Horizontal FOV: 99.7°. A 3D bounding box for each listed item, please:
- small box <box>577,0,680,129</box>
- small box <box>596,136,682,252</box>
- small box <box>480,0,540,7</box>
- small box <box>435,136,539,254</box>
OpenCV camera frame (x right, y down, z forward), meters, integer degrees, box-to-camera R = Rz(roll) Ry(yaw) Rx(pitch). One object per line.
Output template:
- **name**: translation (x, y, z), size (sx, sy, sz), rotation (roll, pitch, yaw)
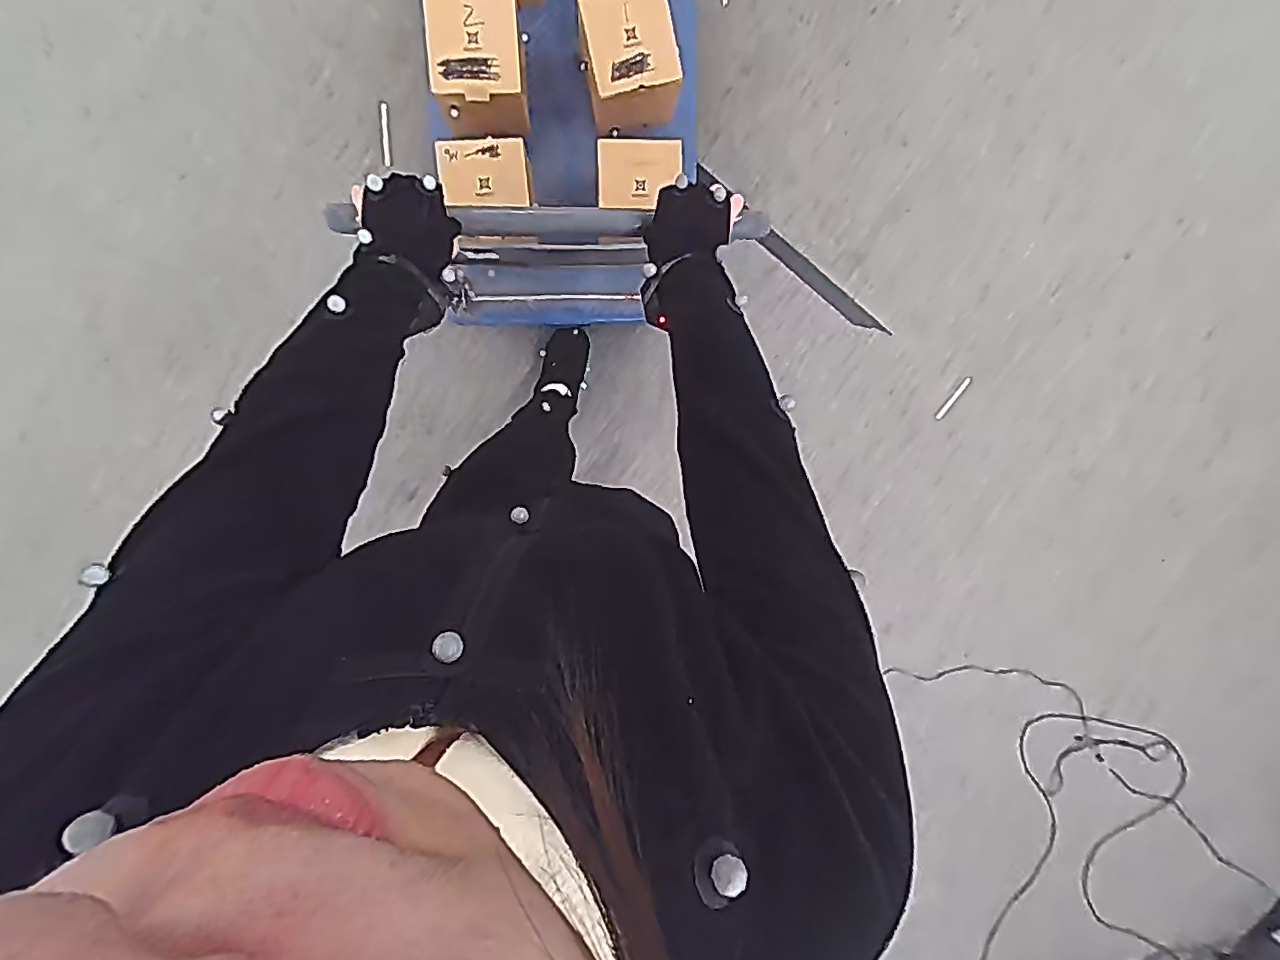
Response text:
- **small box**: translation (-0.025, -0.841, 1.090), size (0.168, 0.176, 0.179), rotation (-14, 99, -3)
- **small box**: translation (-0.006, -0.587, 1.132), size (0.168, 0.176, 0.179), rotation (-2, 98, -6)
- **small box**: translation (-0.279, -1.064, 1.030), size (0.168, 0.176, 0.179), rotation (0, 100, -5)
- **small box**: translation (-0.303, -0.571, 1.105), size (0.168, 0.176, 0.179), rotation (-6, 100, -5)
